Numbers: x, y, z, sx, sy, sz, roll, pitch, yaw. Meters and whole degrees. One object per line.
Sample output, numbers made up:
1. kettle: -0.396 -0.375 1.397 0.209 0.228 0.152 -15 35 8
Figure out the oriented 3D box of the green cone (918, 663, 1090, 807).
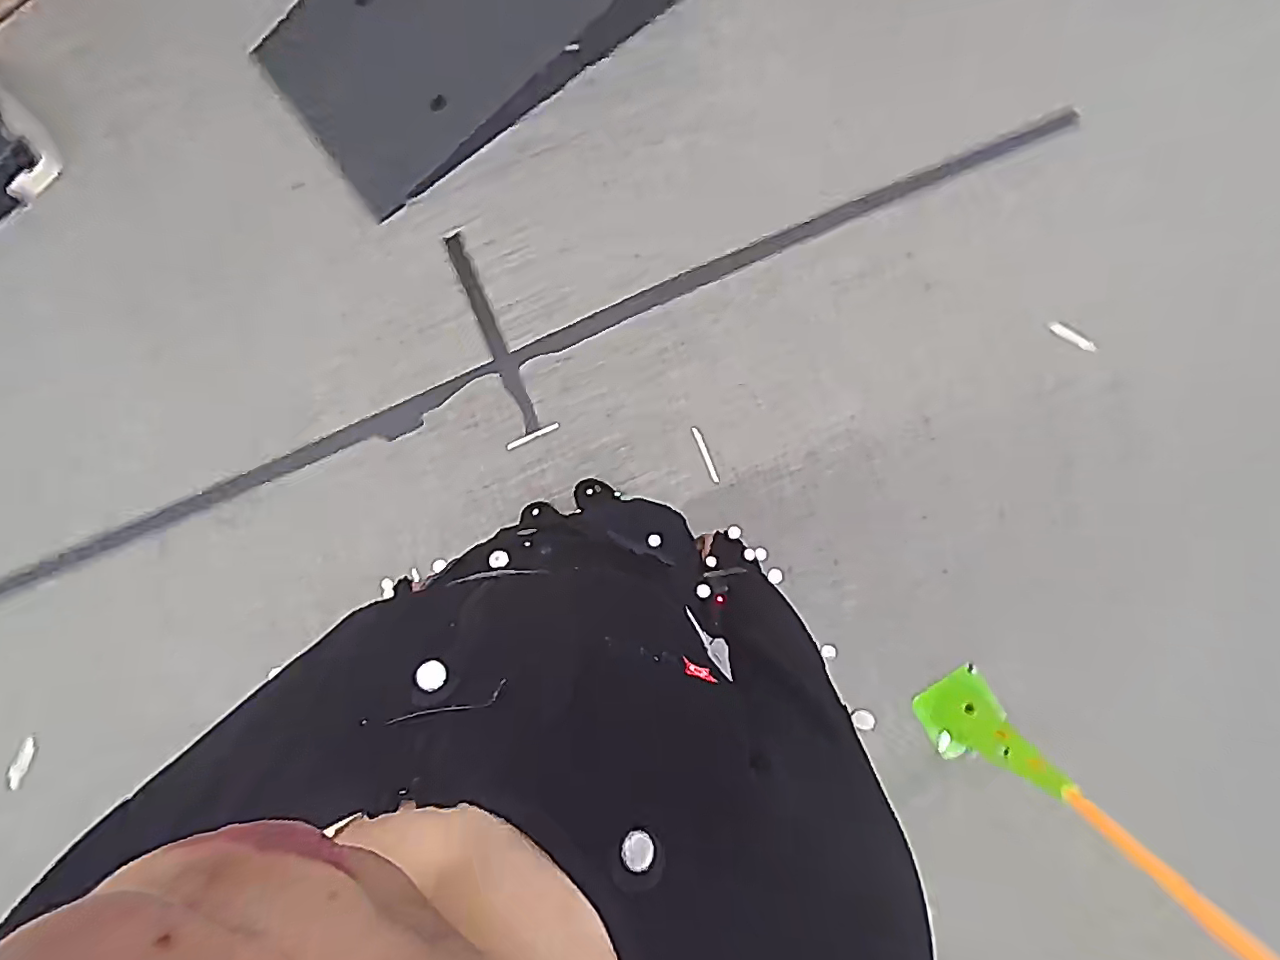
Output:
1. green cone: 0.864 0.620 1.256 0.200 0.368 0.202 -34 95 0
